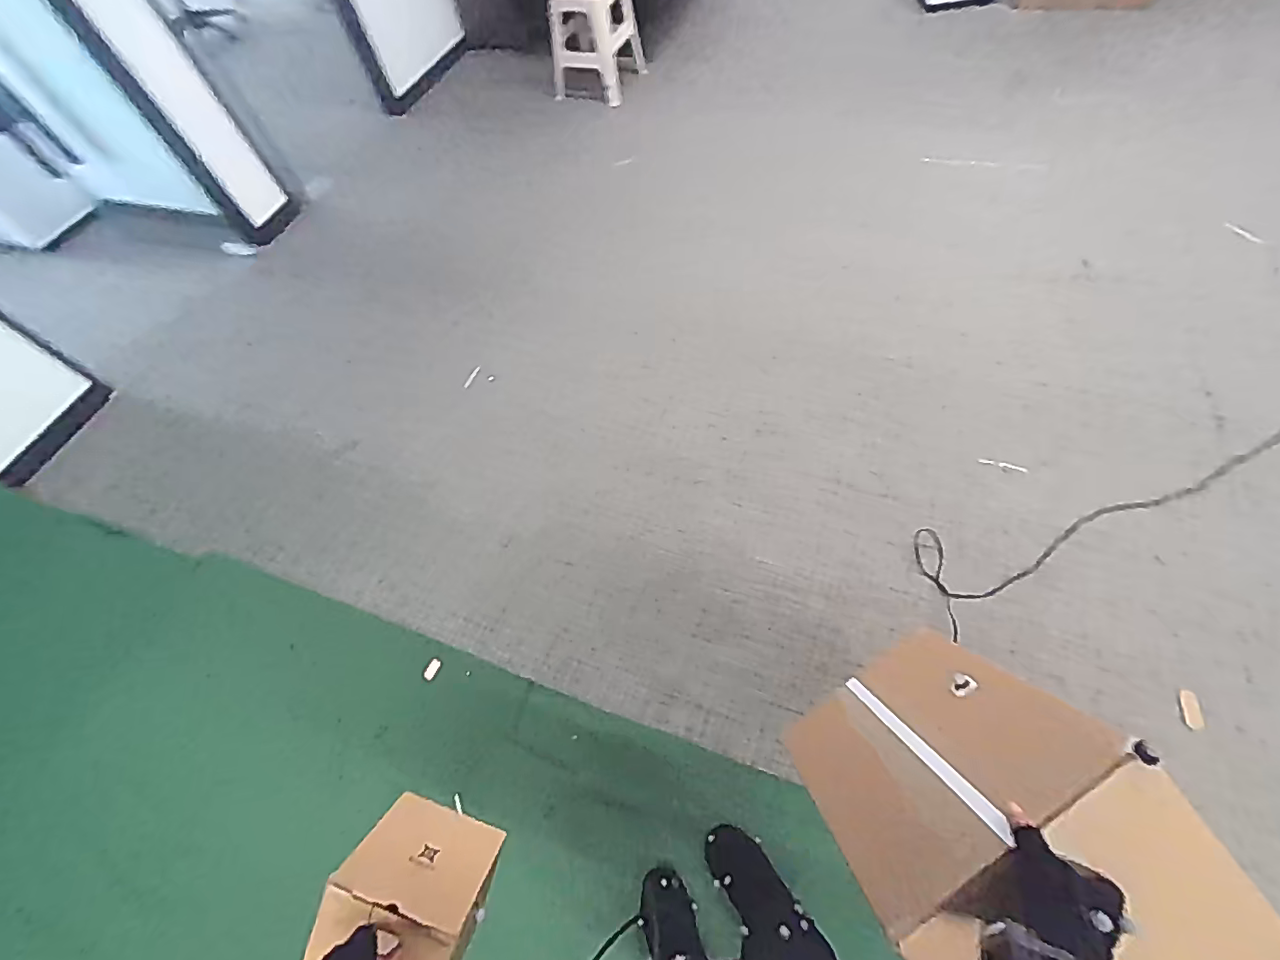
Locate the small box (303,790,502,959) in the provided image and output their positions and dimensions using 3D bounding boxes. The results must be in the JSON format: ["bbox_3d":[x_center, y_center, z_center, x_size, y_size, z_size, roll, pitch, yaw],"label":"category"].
[{"bbox_3d":[-0.313,0.568,0.715,0.168,0.179,0.176,22,96,4],"label":"small box"}]
